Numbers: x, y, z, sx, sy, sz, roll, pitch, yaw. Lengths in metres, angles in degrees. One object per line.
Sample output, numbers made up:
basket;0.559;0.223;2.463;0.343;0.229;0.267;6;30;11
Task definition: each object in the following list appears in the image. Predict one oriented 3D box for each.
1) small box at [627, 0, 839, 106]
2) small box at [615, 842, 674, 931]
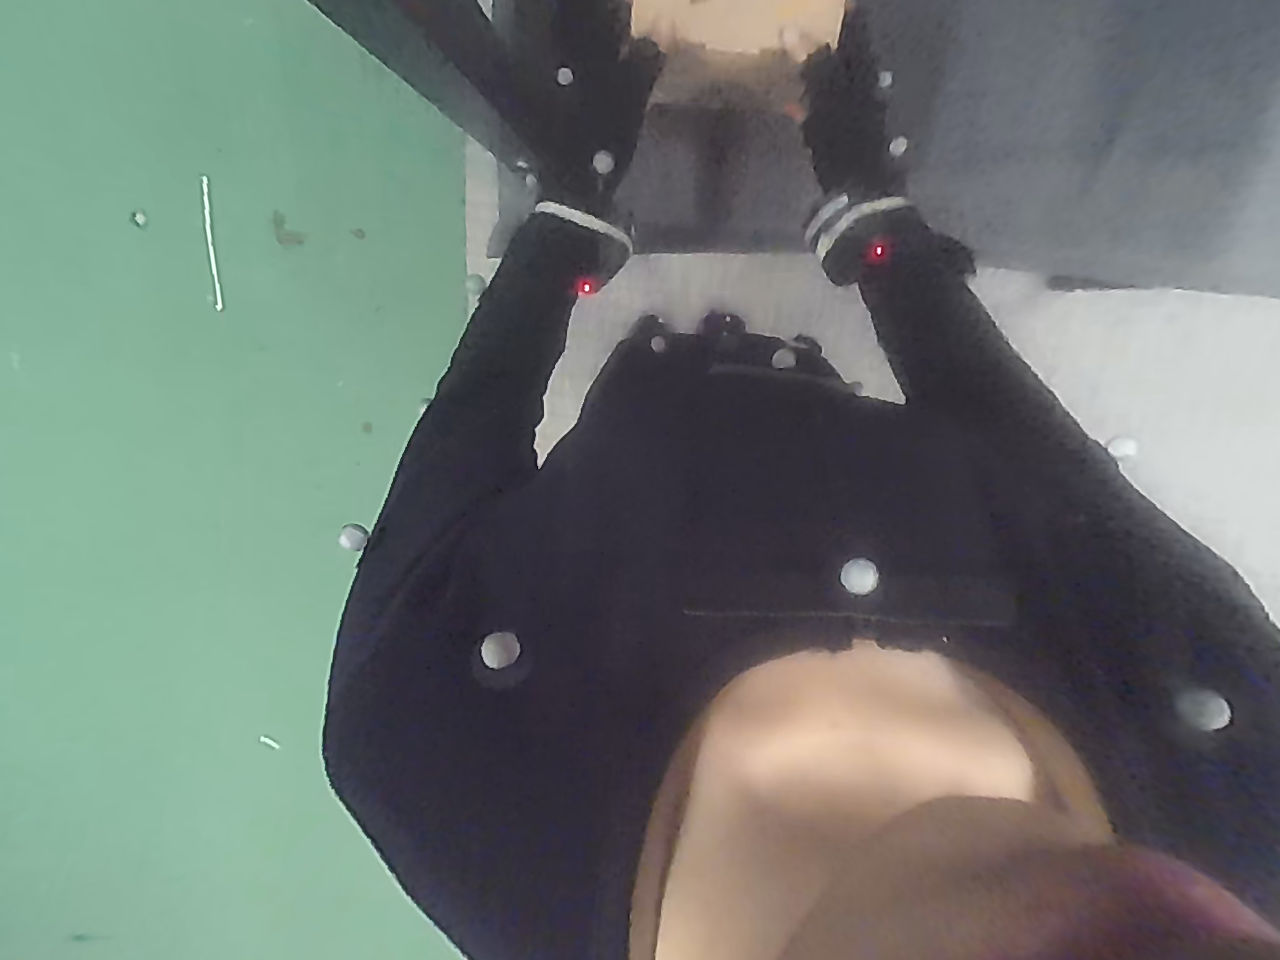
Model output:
small box;0.078;-0.456;0.469;0.168;0.176;0.179;4;111;1
small box;0.016;1.406;1.879;0.168;0.176;0.179;14;109;0
